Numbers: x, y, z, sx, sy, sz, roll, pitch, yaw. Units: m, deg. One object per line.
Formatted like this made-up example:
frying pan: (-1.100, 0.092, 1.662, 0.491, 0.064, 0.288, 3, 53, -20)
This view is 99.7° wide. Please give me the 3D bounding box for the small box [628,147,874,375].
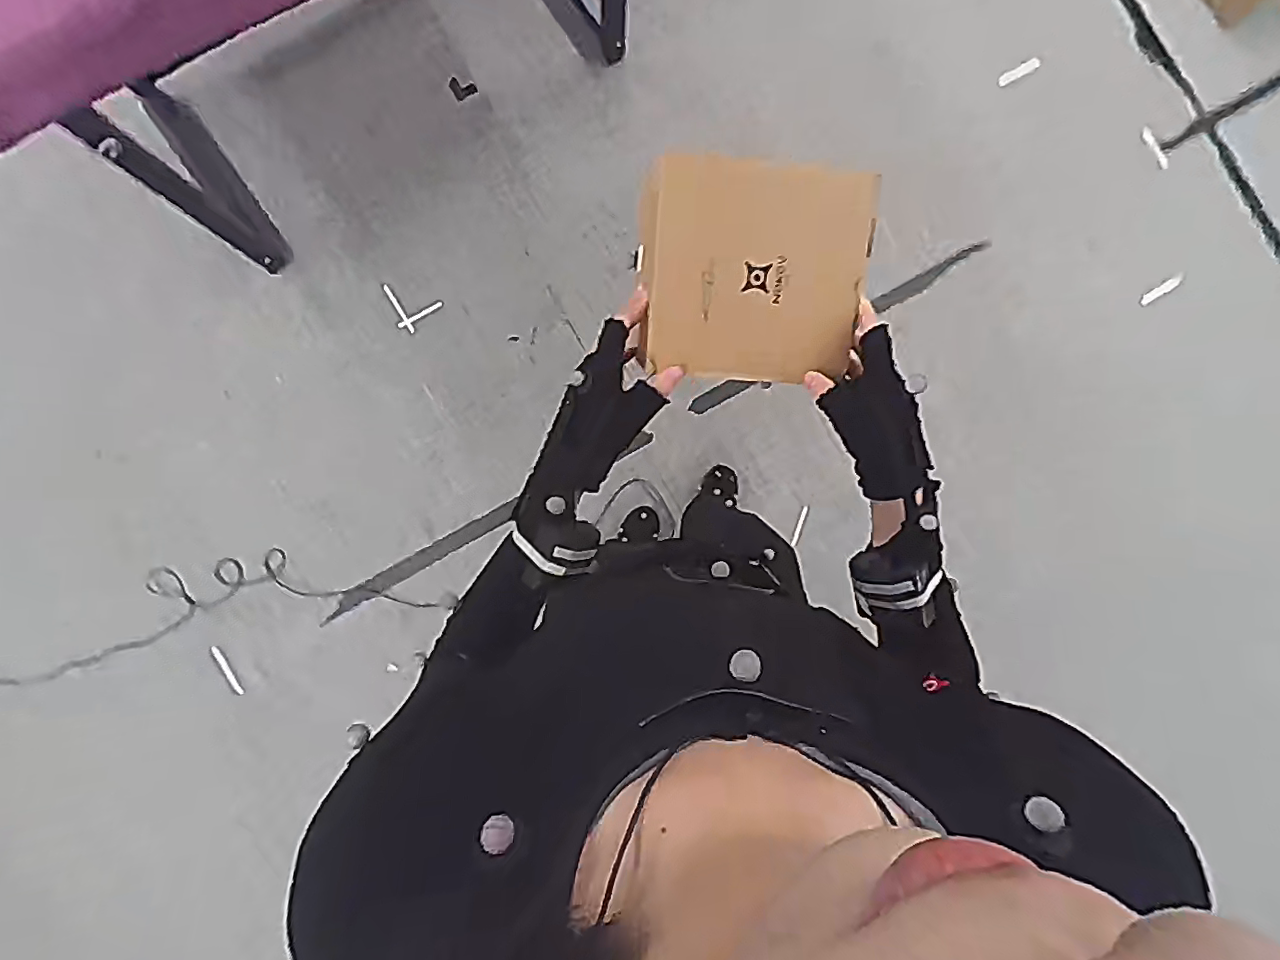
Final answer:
small box: (0.084, -0.191, 0.506, 0.179, 0.176, 0.168, 0, 106, -6)
